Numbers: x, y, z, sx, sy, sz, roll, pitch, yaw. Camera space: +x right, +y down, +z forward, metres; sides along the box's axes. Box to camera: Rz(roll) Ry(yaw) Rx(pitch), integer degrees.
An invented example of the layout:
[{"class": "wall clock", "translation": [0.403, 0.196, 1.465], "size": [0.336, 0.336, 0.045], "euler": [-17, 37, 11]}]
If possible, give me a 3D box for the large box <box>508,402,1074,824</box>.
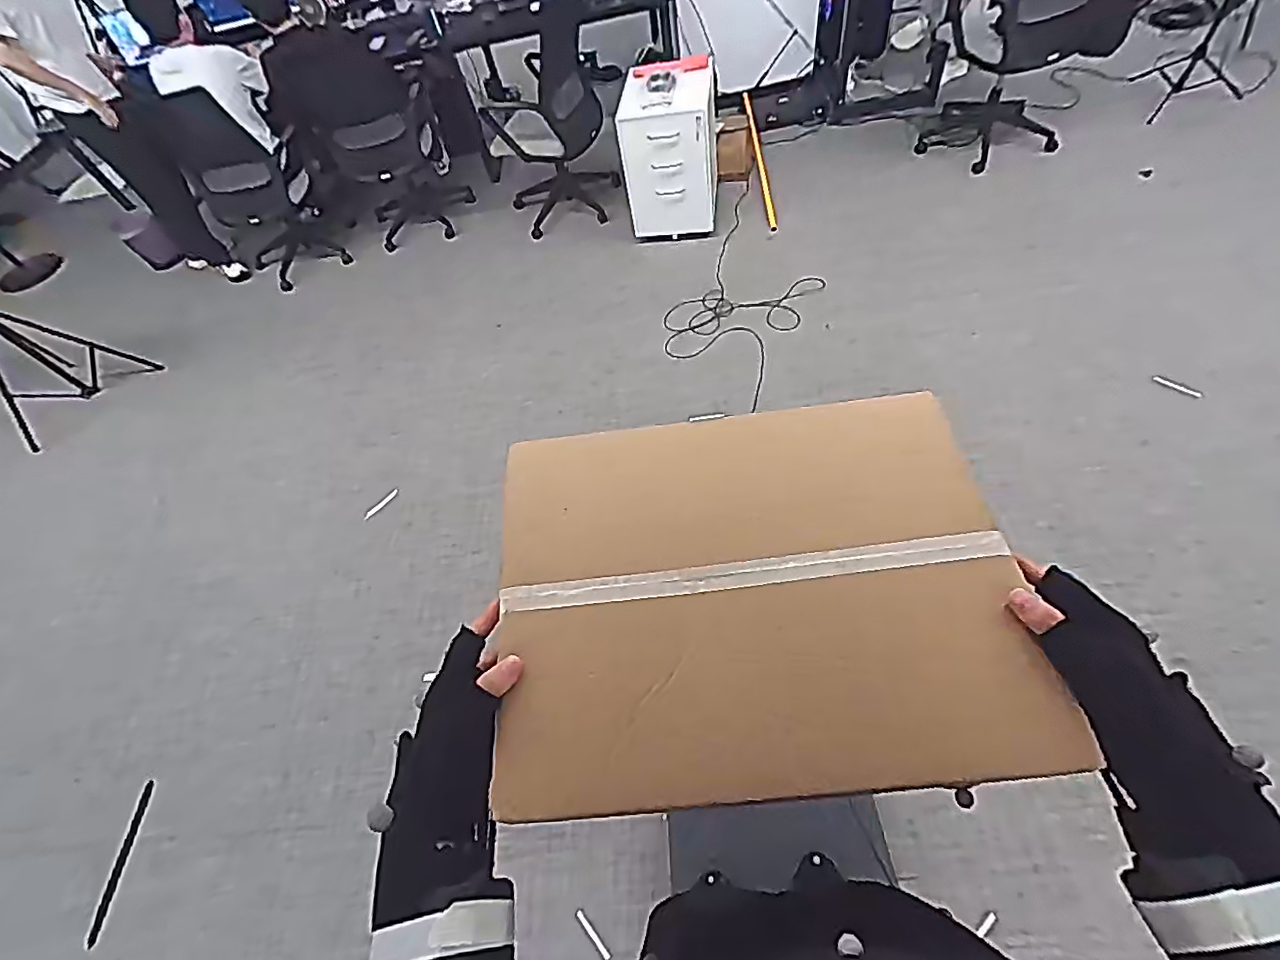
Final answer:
[{"class": "large box", "translation": [0.105, 0.155, 0.577], "size": [0.408, 0.320, 0.320], "euler": [-8, 59, 3]}]
